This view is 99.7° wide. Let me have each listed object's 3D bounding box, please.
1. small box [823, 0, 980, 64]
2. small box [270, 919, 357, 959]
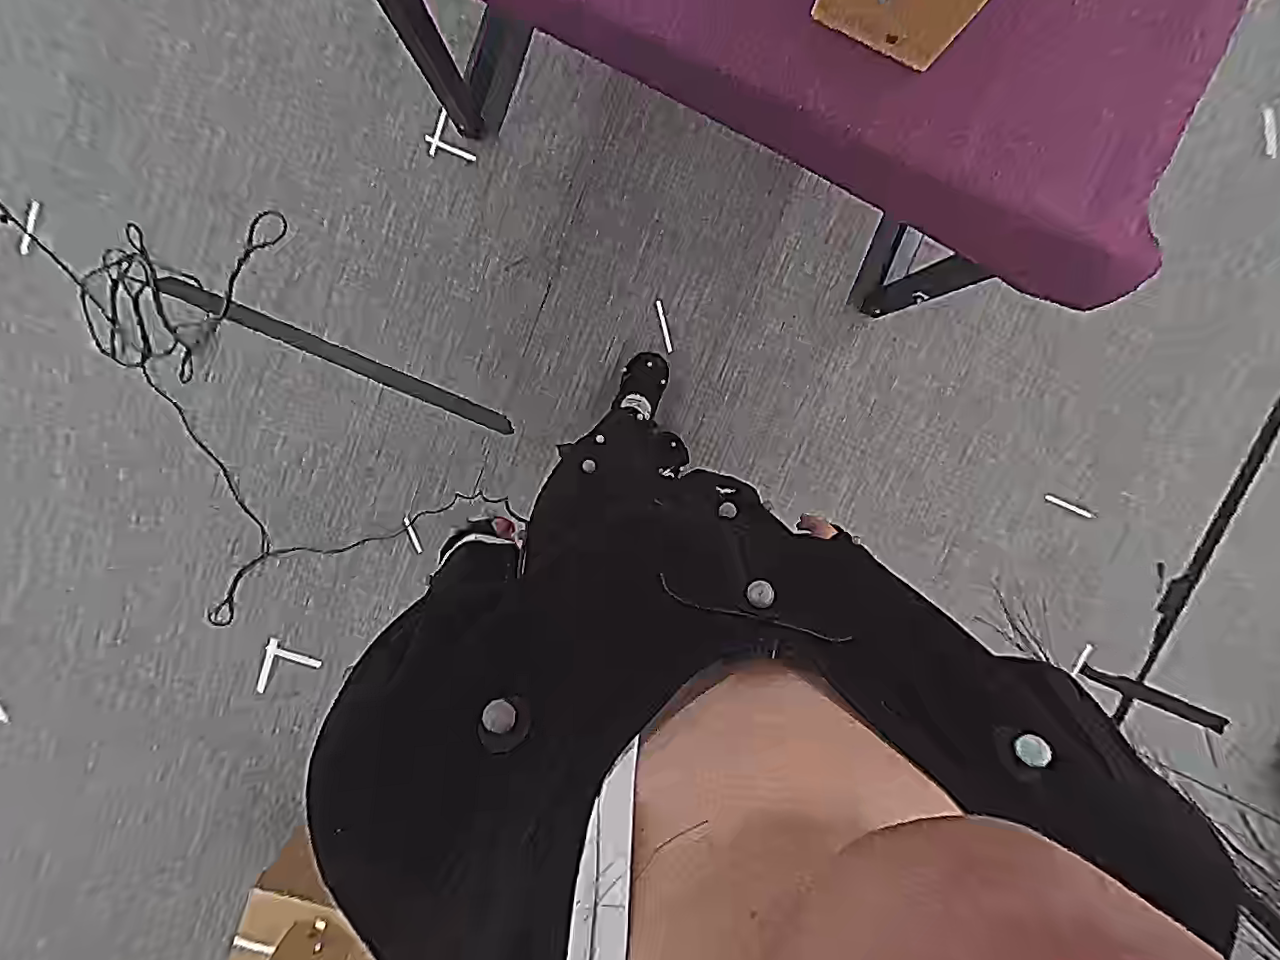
[{"bbox_3d":[0.329,-0.629,0.610,0.168,0.176,0.179,22,96,-4],"label":"small box"},{"bbox_3d":[-0.801,1.203,1.276,0.168,0.176,0.179,19,97,-5],"label":"small box"}]
